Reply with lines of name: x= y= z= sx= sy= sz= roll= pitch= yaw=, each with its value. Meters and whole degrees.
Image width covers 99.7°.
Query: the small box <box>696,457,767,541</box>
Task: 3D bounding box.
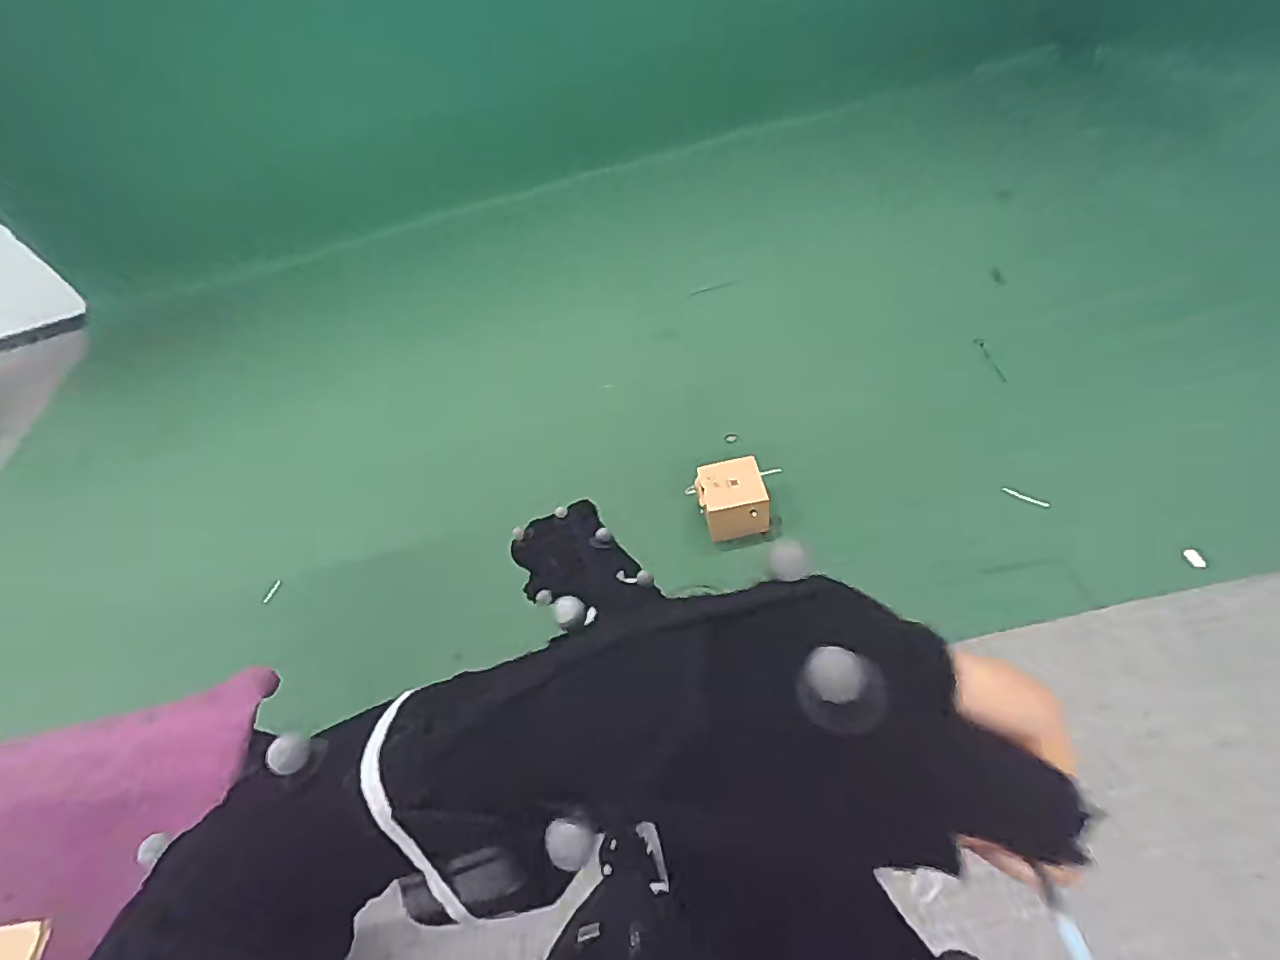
small box: x=0.273 y=0.060 z=1.614 sx=0.179 sy=0.176 sz=0.168 roll=-12 pitch=52 yaw=4
